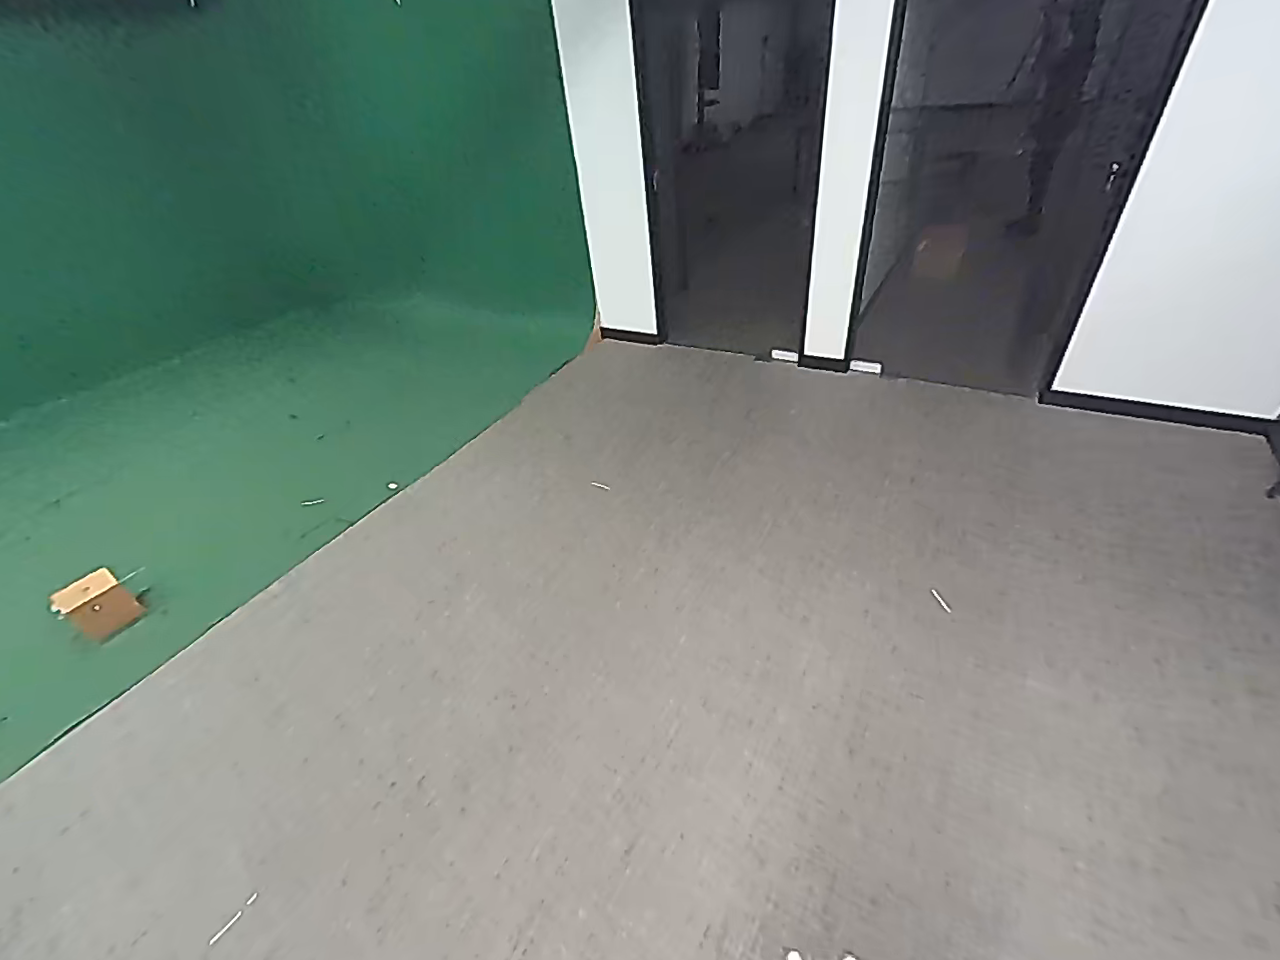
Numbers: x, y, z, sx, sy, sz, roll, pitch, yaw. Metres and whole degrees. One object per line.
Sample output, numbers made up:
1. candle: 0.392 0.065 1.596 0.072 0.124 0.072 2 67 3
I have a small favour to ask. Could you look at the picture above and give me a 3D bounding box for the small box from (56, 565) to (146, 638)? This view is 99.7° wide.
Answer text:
1. small box: -2.054 0.464 2.072 0.168 0.176 0.179 20 45 30
